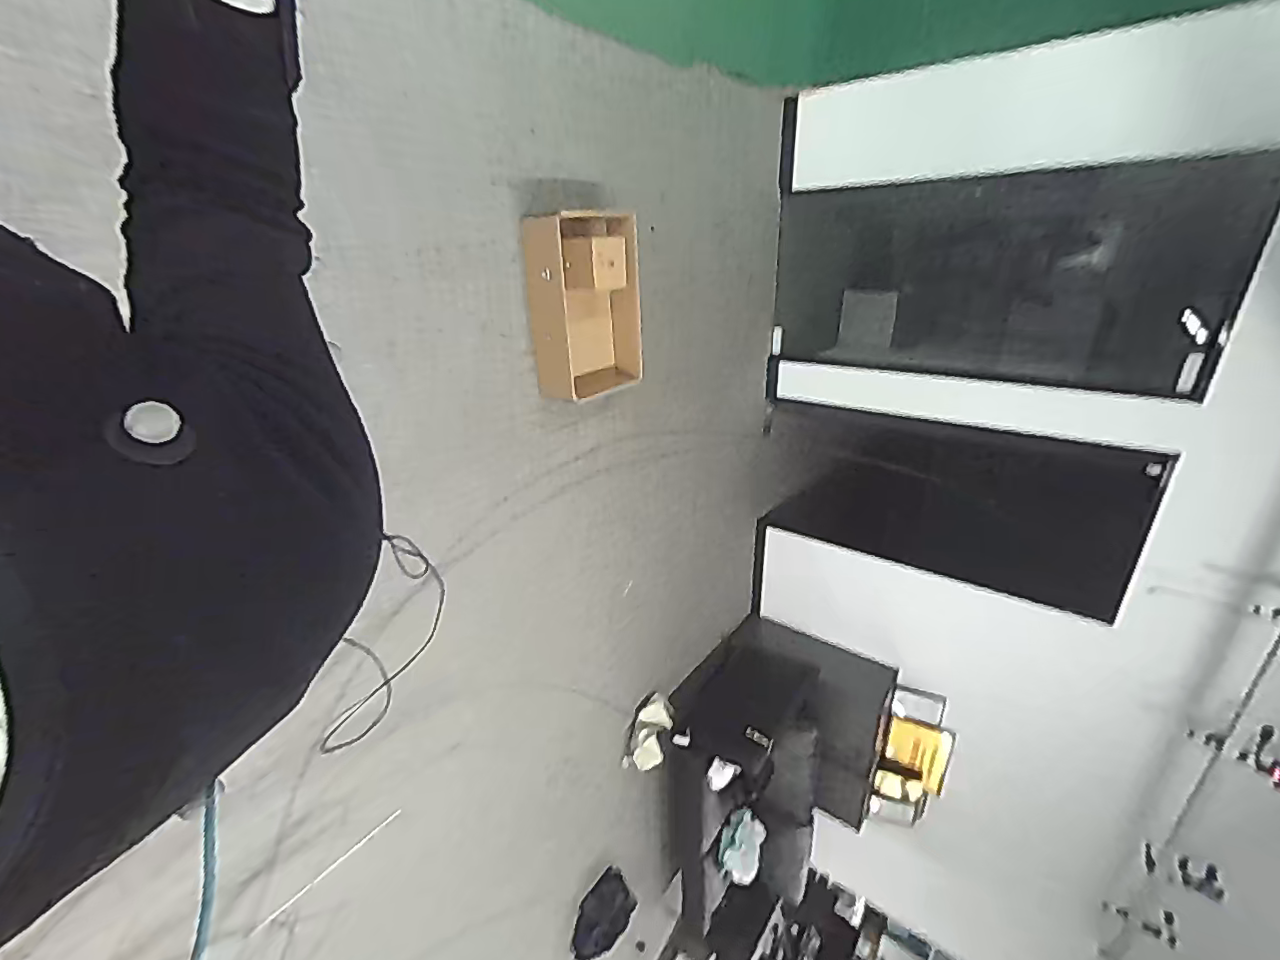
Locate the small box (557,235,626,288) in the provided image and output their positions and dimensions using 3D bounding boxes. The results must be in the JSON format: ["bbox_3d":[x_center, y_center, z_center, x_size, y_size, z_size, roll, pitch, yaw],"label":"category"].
[{"bbox_3d":[-0.167,-0.765,1.886,0.179,0.176,0.168,-29,126,-47],"label":"small box"}]
